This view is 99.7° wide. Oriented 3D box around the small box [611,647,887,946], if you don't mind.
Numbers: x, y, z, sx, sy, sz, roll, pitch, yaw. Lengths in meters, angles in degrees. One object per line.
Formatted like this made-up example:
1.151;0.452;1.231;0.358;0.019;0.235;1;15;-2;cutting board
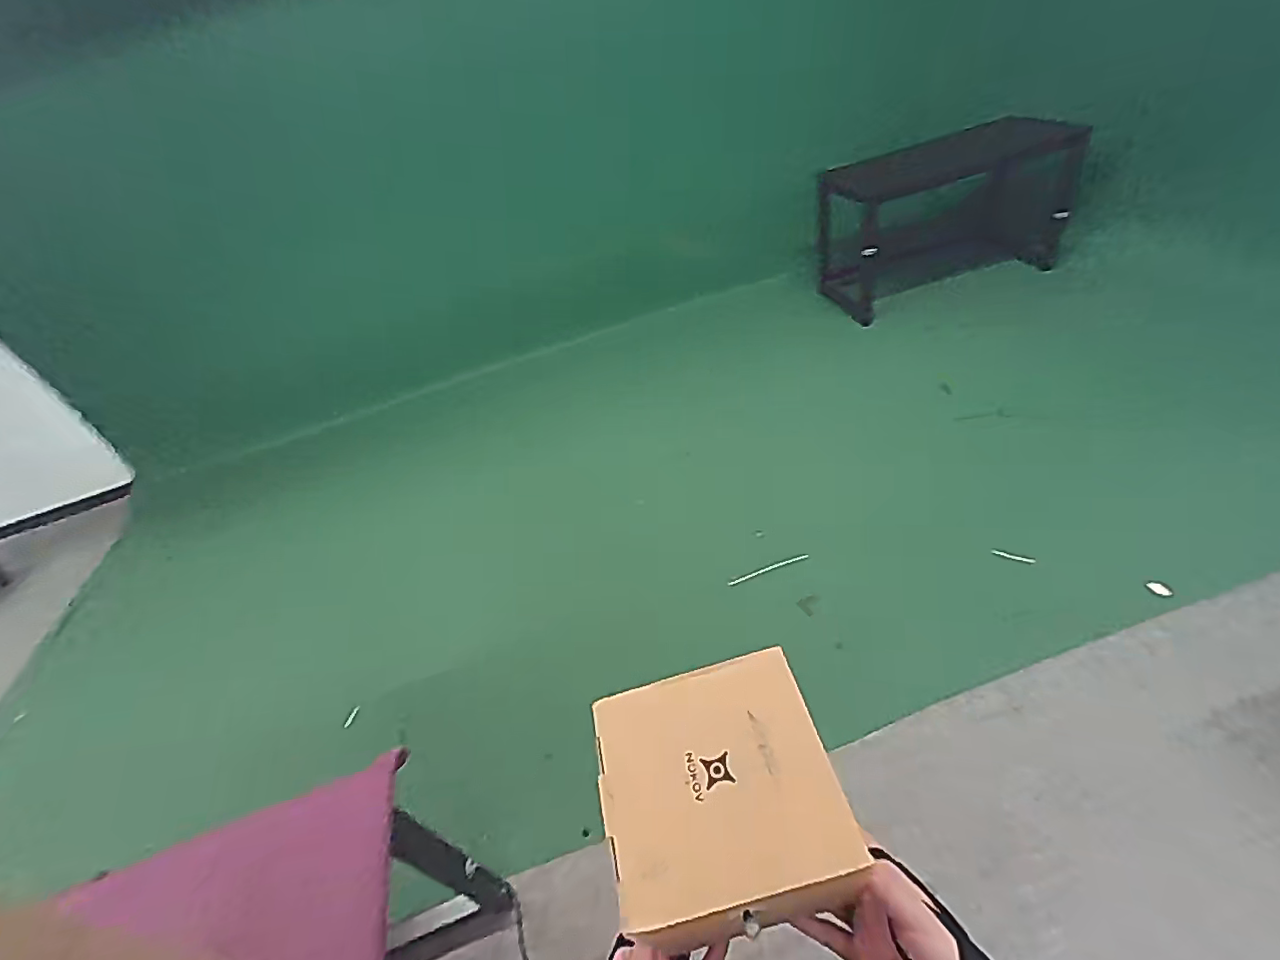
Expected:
0.087;0.277;0.470;0.179;0.176;0.168;-16;44;1;small box
